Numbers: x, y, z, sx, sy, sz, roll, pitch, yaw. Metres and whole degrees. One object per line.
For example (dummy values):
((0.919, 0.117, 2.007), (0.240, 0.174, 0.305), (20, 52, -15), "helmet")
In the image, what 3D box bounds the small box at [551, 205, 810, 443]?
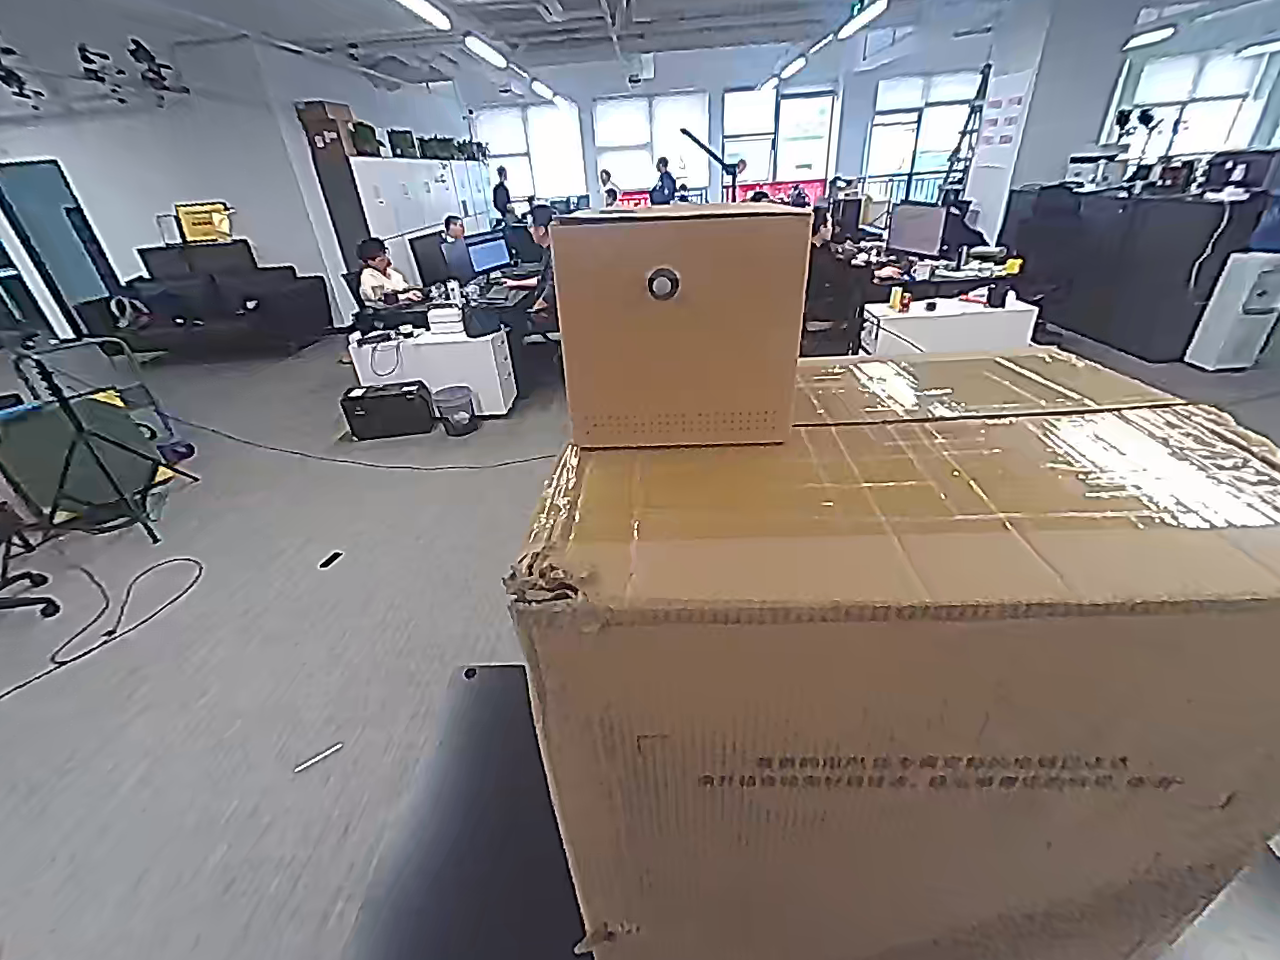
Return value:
((0.033, -0.137, 0.462), (0.179, 0.176, 0.168), (-1, 28, 2), "small box")
